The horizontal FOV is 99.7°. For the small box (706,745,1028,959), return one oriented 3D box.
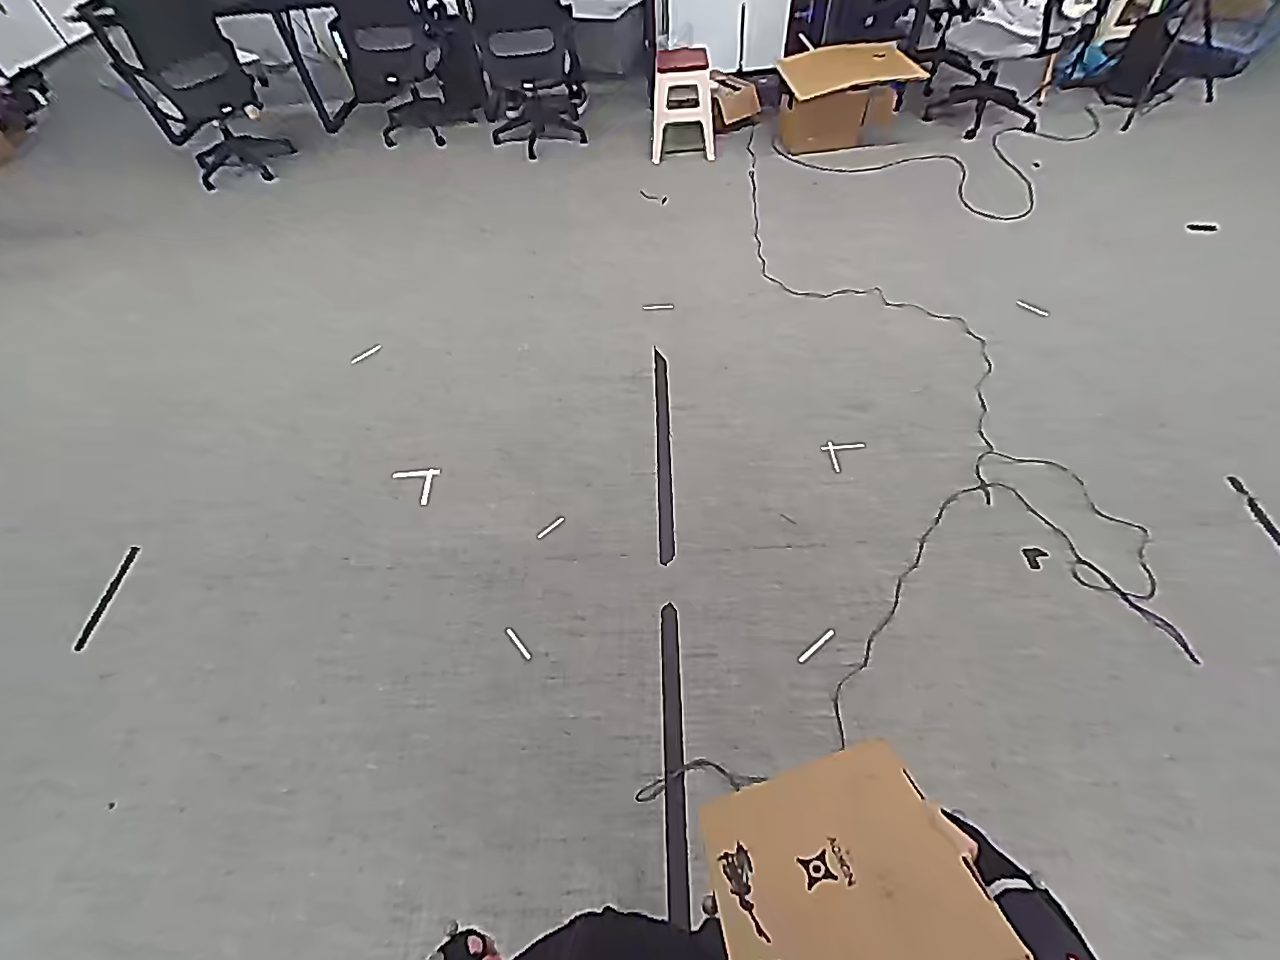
[{"bbox_3d":[0.173,0.358,0.426,0.179,0.176,0.168,-22,18,2],"label":"small box"}]
